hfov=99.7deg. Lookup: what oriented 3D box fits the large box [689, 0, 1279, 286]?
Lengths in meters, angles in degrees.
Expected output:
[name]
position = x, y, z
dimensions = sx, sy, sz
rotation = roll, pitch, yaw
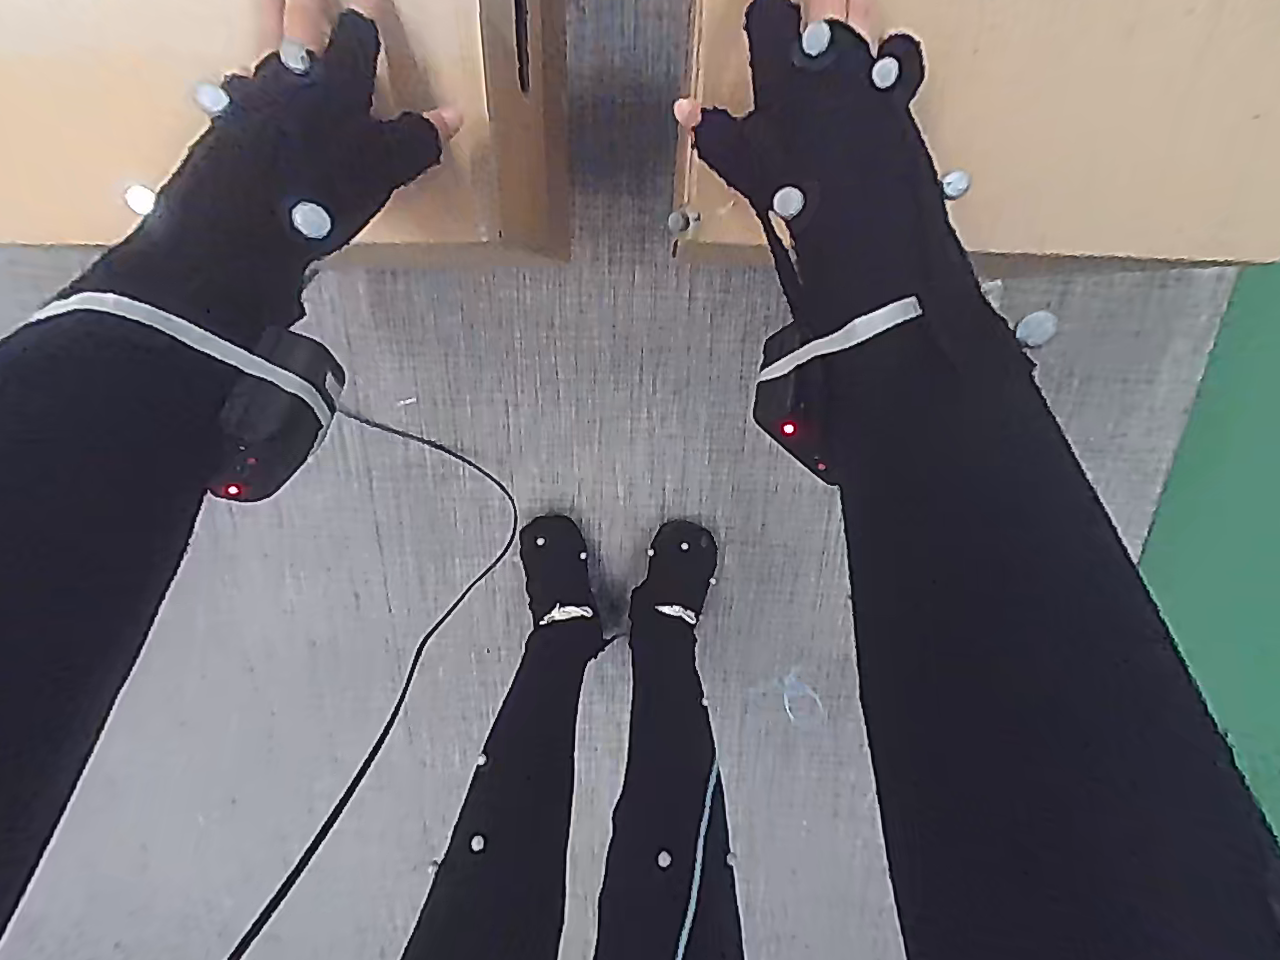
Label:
[large box]
position = 0.258, -0.345, 0.483
dimensions = 0.408, 0.320, 0.320
rotation = 4, 109, 2
